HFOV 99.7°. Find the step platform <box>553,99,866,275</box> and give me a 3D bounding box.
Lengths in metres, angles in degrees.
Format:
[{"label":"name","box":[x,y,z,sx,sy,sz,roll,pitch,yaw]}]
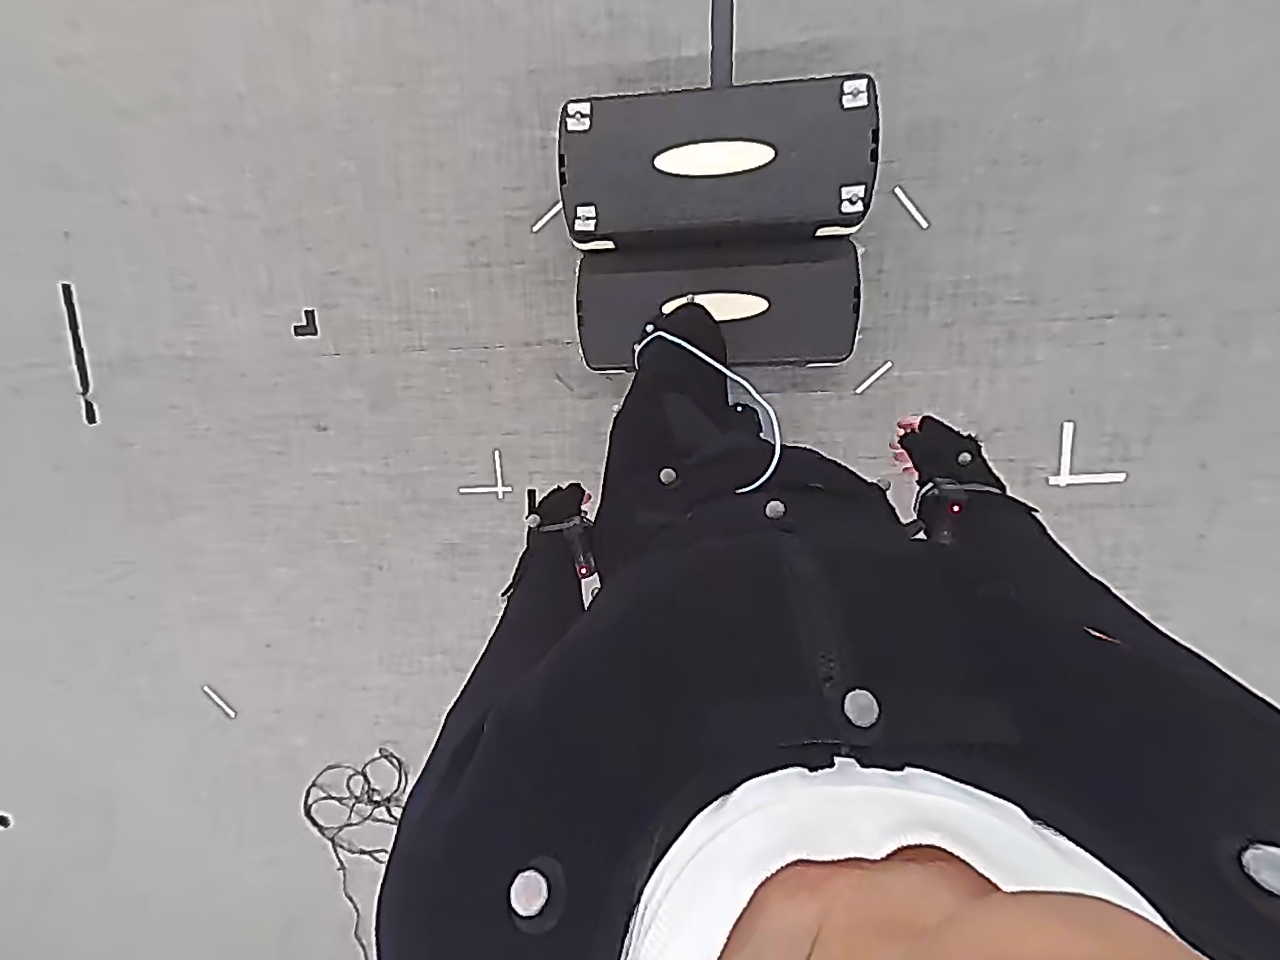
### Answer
[{"label":"step platform","box":[0.148,-0.652,1.234,0.684,0.204,0.286,-2,101,6]}]
